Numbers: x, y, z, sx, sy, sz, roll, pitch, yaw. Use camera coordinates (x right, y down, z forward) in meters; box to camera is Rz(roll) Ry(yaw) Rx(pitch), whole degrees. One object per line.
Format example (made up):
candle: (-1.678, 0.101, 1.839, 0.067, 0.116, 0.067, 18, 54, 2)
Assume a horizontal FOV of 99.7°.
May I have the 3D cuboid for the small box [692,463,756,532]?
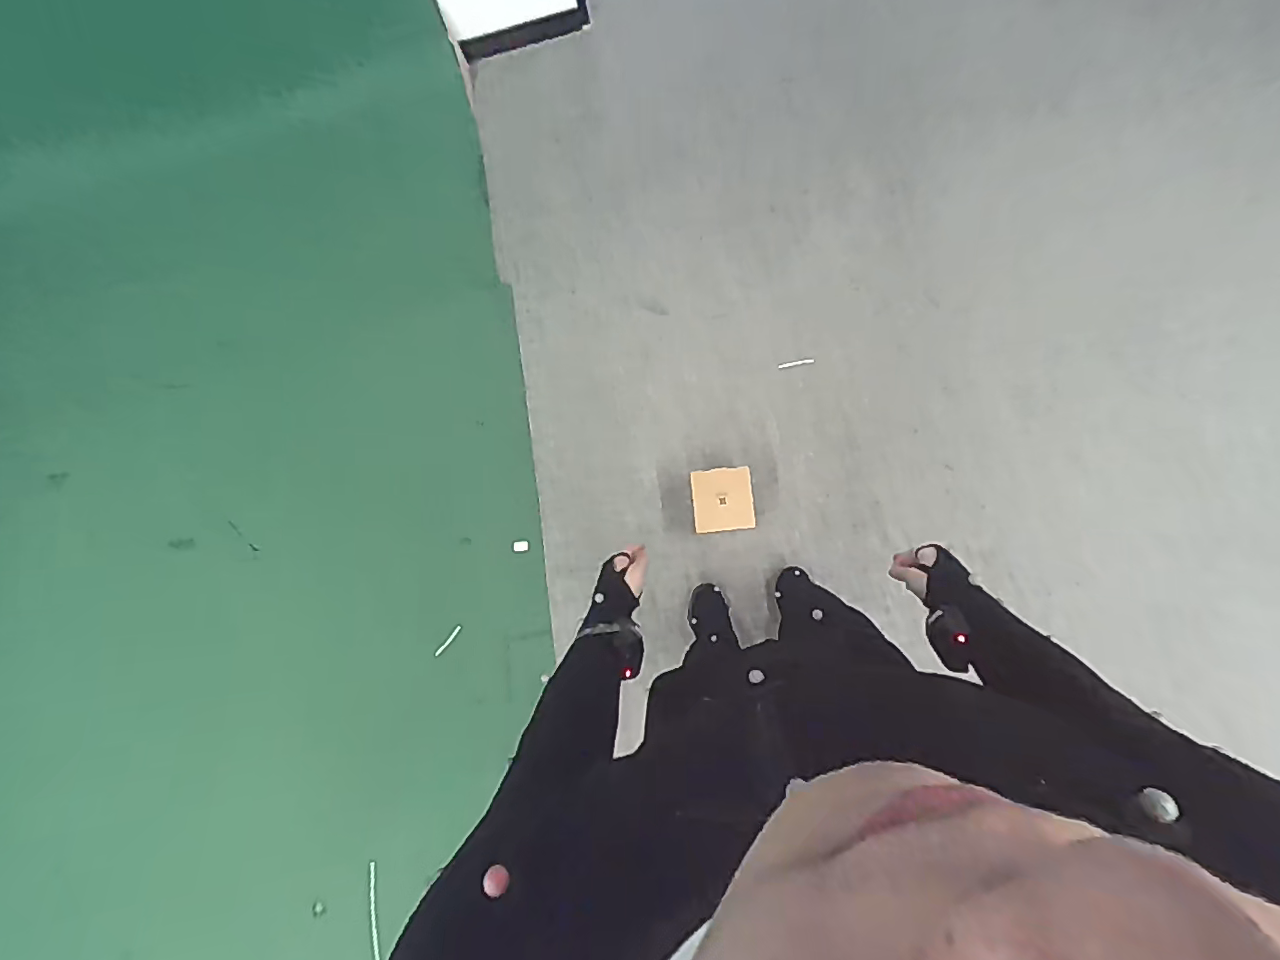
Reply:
small box: (0.244, 0.058, 1.568, 0.168, 0.176, 0.179, -6, 79, 7)
